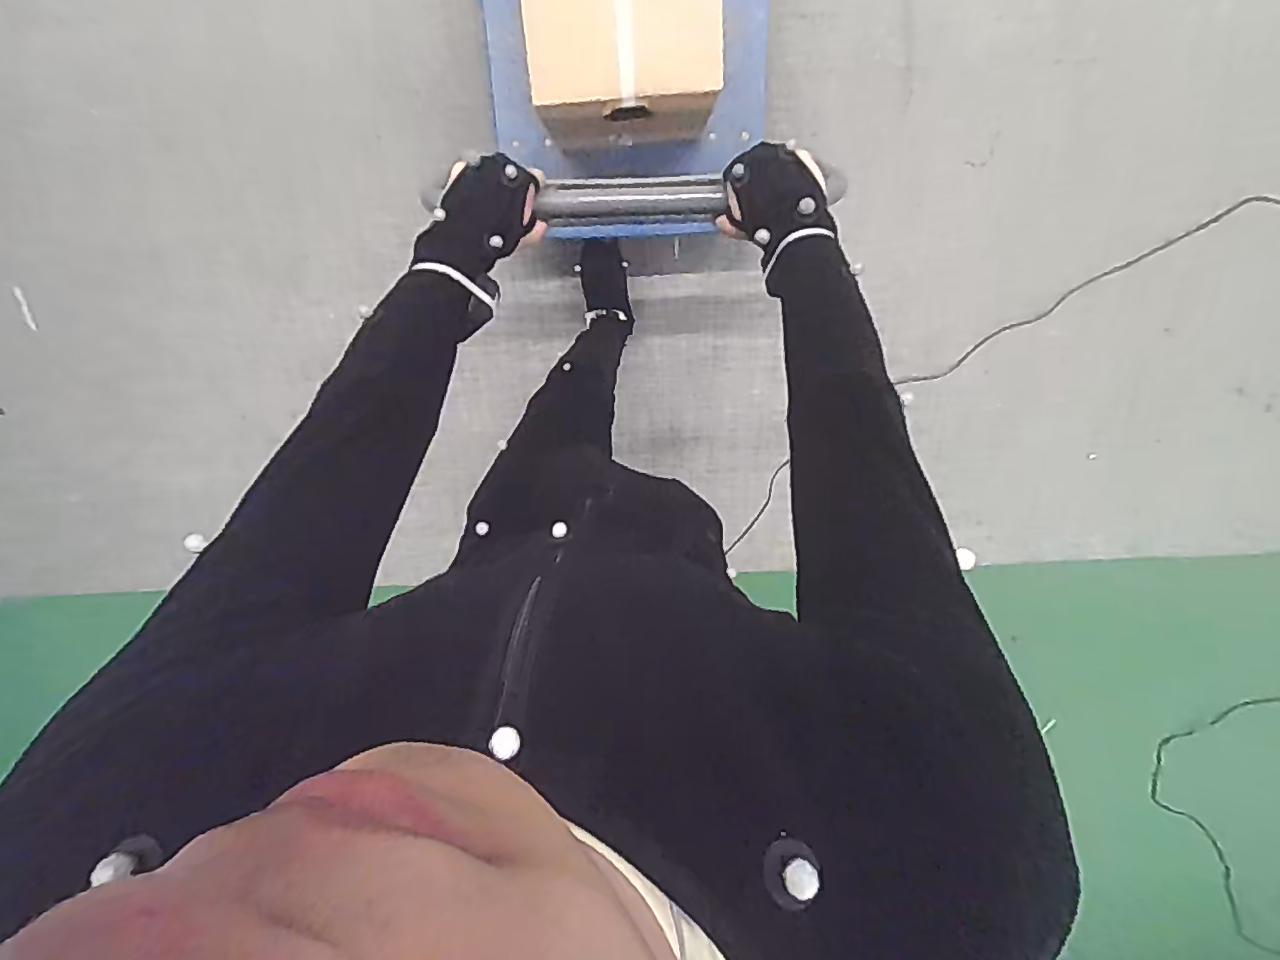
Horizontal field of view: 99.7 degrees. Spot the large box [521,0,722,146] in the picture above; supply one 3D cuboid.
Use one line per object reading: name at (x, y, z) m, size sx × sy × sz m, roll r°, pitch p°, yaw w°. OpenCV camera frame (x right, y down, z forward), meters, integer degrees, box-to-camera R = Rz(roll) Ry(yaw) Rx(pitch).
large box at (-0.034, -0.864, 0.953) m, size 0.320 × 0.320 × 0.408 m, roll -4°, pitch 110°, yaw 1°
